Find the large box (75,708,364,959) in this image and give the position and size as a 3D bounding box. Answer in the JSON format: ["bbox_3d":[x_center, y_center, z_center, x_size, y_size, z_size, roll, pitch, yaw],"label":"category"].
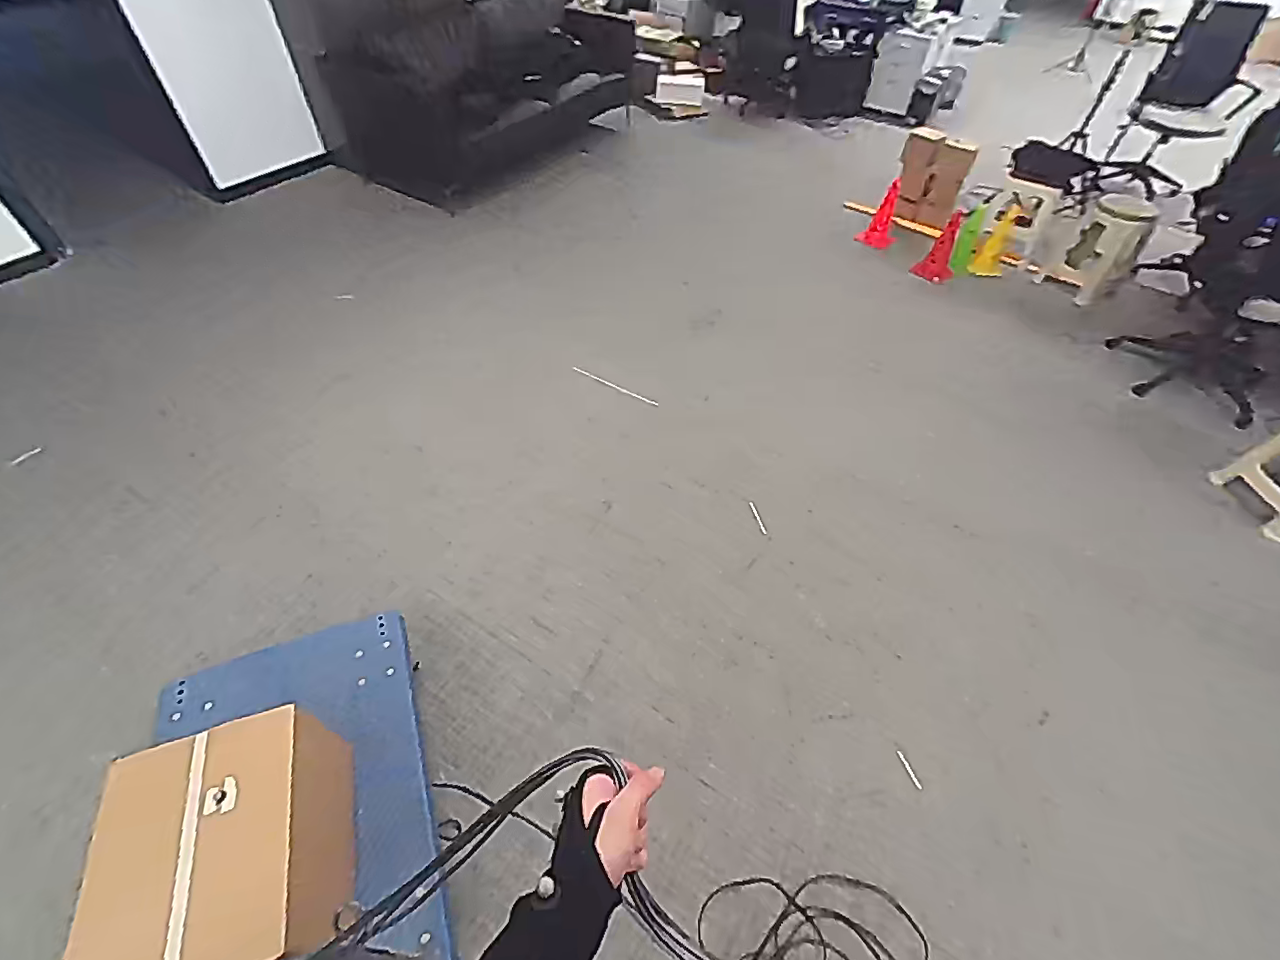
[{"bbox_3d":[-0.741,0.720,1.014,0.320,0.320,0.408,-15,51,-14],"label":"large box"}]
